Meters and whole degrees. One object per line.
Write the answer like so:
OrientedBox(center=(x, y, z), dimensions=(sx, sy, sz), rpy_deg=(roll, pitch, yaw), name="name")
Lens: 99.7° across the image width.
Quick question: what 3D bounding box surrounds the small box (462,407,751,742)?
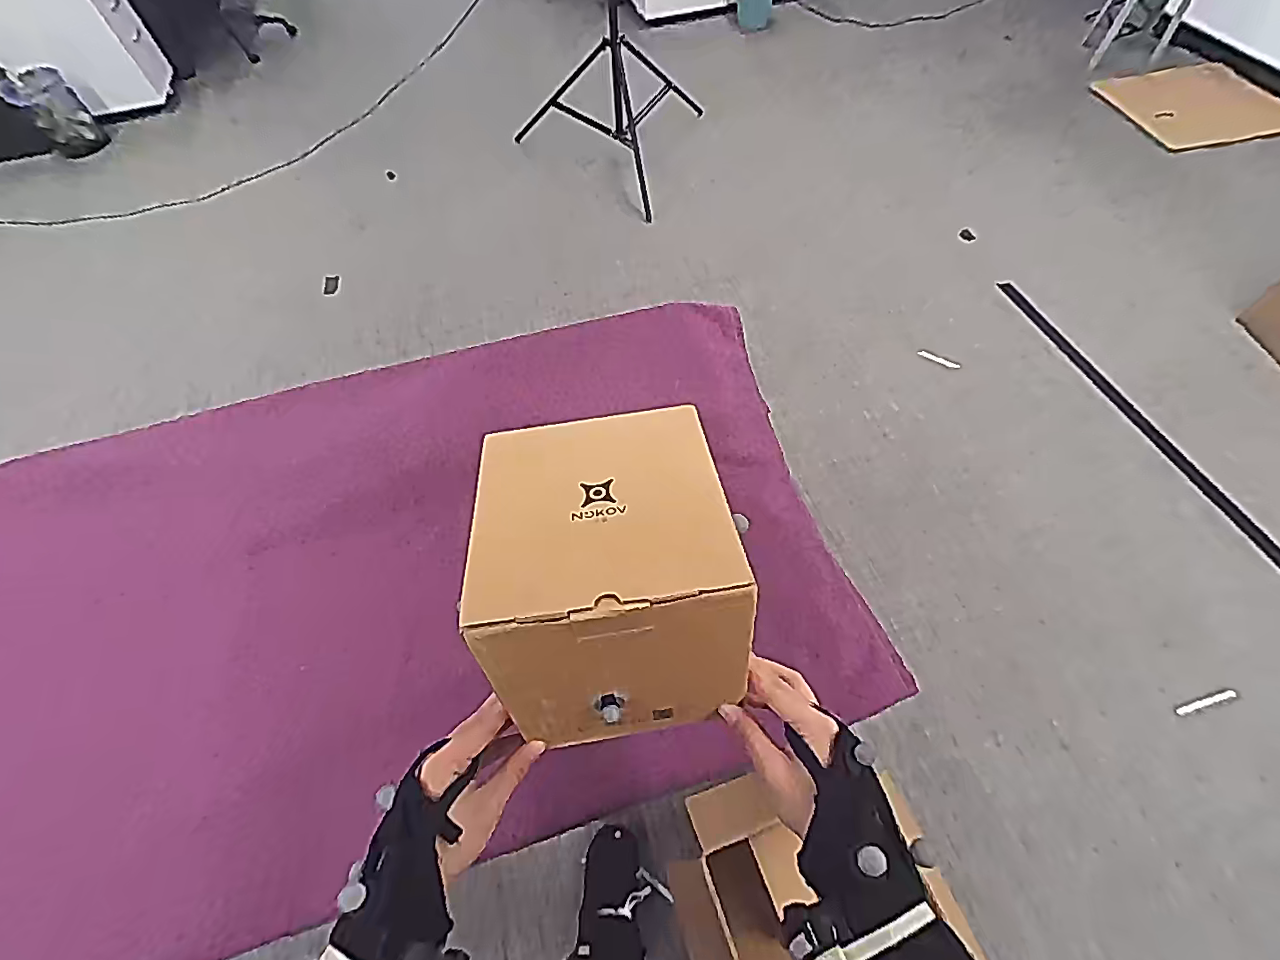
OrientedBox(center=(-0.021, 0.070, 0.415), dimensions=(0.168, 0.176, 0.179), rpy_deg=(-9, 43, -2), name="small box")
